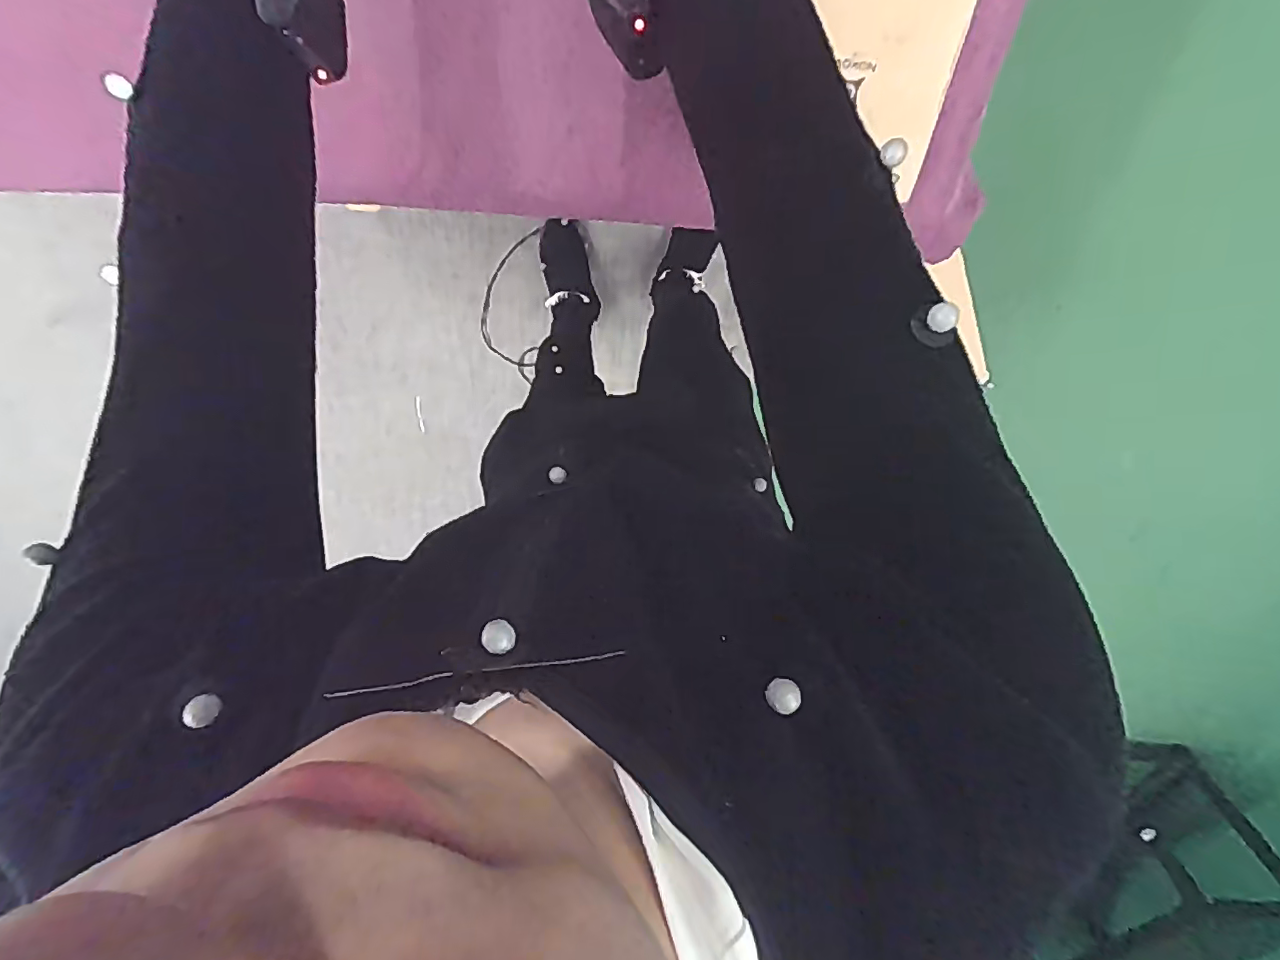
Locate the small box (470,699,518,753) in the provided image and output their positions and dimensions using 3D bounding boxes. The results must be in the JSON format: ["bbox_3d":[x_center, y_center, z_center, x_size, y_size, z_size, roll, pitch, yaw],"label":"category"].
[{"bbox_3d":[-0.644,1.106,2.393,0.168,0.176,0.179,10,123,-3],"label":"small box"}]

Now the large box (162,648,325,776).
[{"bbox_3d":[-1.653,0.979,2.283,0.320,0.320,0.408,-36,119,24],"label":"large box"}]
